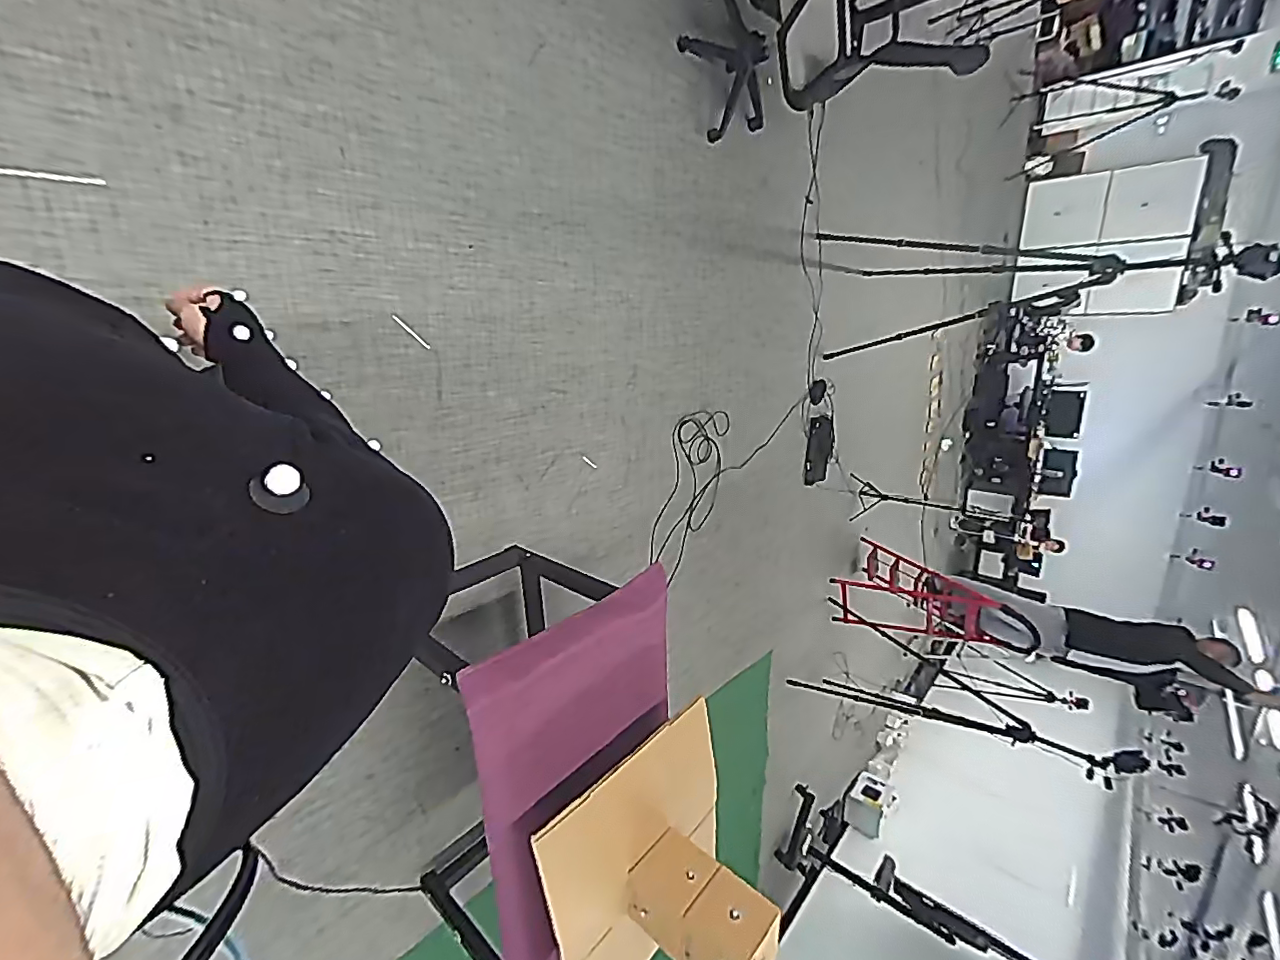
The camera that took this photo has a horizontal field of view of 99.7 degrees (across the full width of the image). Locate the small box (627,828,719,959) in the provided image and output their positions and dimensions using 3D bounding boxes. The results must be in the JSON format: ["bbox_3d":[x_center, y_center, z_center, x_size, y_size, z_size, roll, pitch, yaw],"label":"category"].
[{"bbox_3d":[0.085,1.060,1.403,0.179,0.176,0.168,-19,115,-44],"label":"small box"}]
